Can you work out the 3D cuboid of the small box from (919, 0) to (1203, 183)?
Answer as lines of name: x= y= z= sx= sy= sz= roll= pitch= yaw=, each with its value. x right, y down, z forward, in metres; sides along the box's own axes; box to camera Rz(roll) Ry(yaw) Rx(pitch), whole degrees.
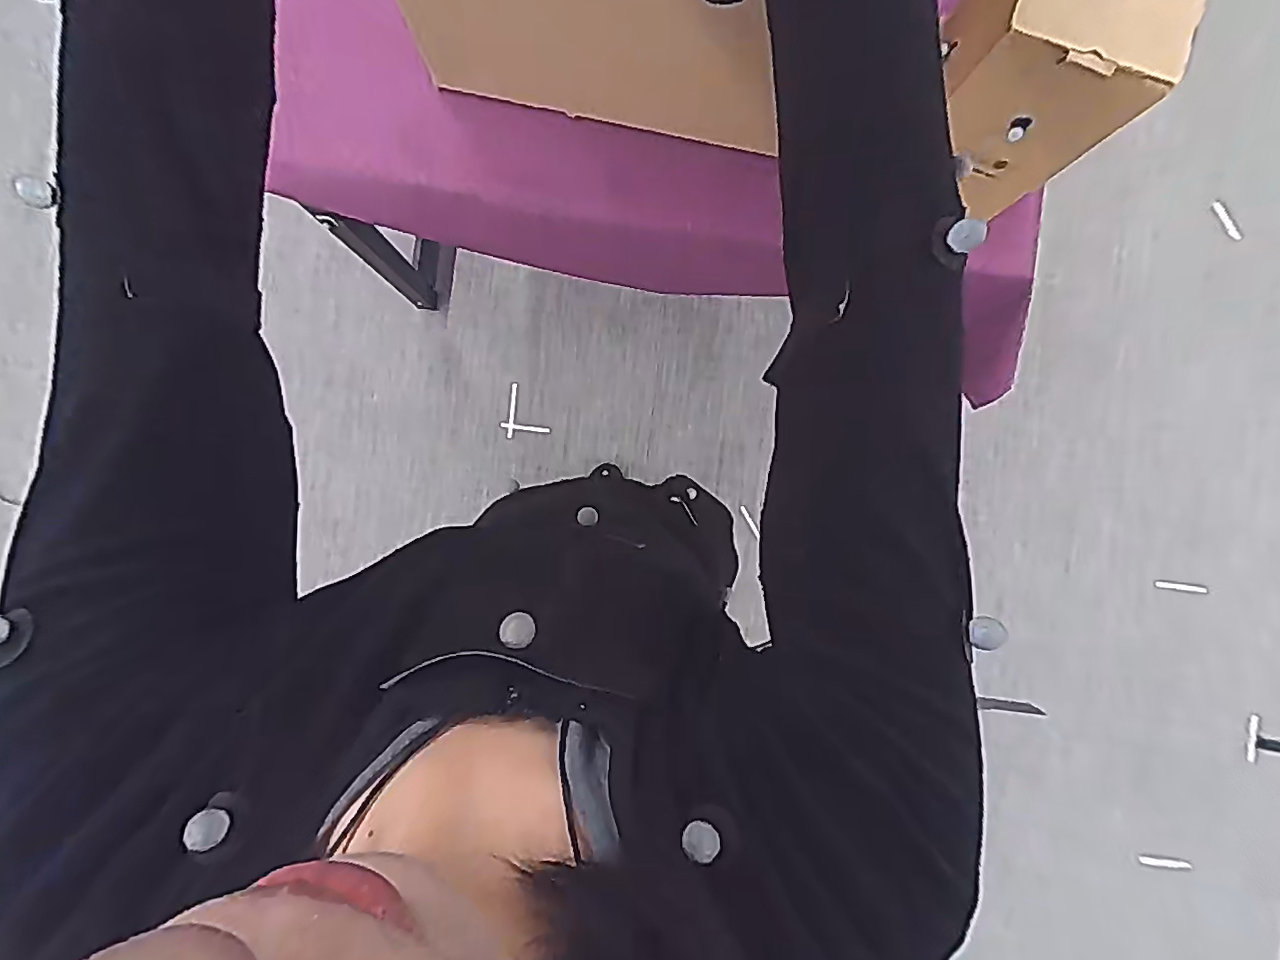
small box: x=0.429 y=-0.456 z=0.569 sx=0.168 sy=0.176 sz=0.179 roll=19 pitch=89 yaw=-3

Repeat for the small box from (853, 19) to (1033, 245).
small box: x=0.413 y=-0.452 z=0.733 sx=0.168 sy=0.176 sz=0.179 roll=15 pitch=87 yaw=-3
